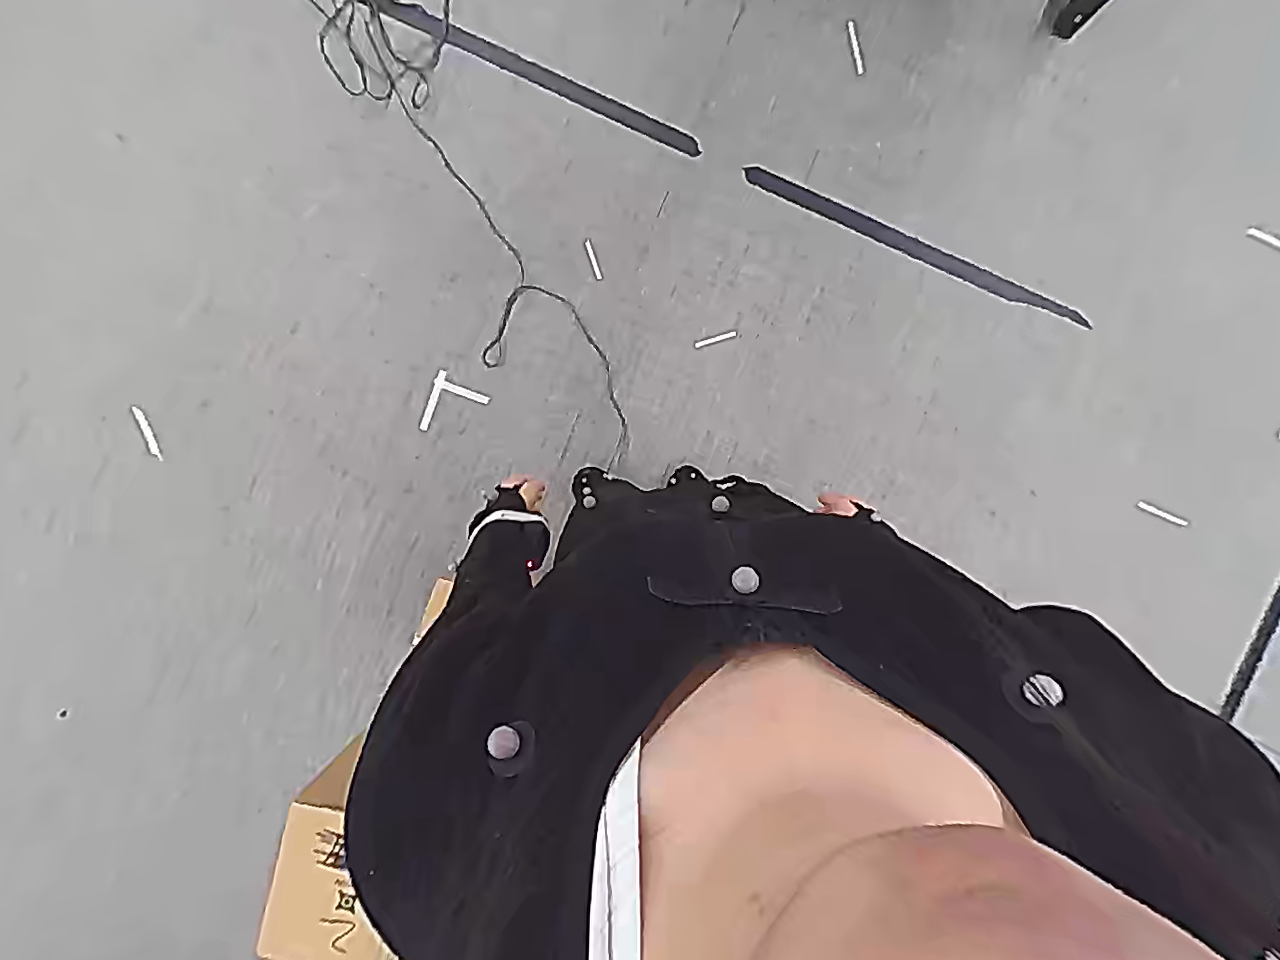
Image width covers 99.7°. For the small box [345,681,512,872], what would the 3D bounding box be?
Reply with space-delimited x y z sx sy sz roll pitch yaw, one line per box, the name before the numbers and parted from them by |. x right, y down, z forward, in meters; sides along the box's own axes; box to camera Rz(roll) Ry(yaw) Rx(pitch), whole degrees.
small box | -0.303 0.430 0.814 0.168 0.176 0.179 14 92 0
